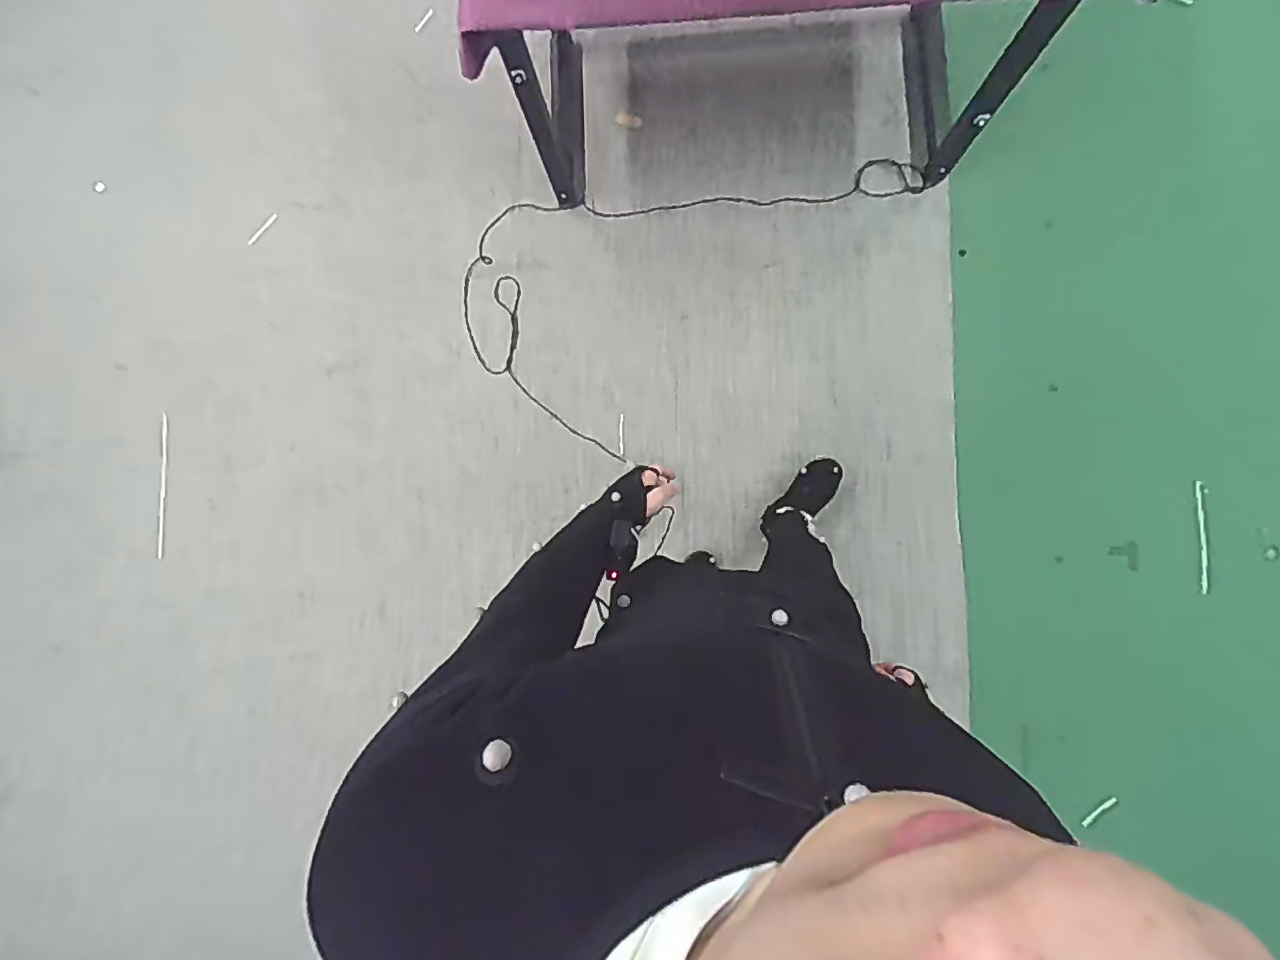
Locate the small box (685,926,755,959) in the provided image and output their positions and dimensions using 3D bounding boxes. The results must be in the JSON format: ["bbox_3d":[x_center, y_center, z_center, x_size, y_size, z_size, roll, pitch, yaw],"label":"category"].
[{"bbox_3d":[0.192,1.209,1.274,0.168,0.176,0.179,-1,87,3],"label":"small box"}]
